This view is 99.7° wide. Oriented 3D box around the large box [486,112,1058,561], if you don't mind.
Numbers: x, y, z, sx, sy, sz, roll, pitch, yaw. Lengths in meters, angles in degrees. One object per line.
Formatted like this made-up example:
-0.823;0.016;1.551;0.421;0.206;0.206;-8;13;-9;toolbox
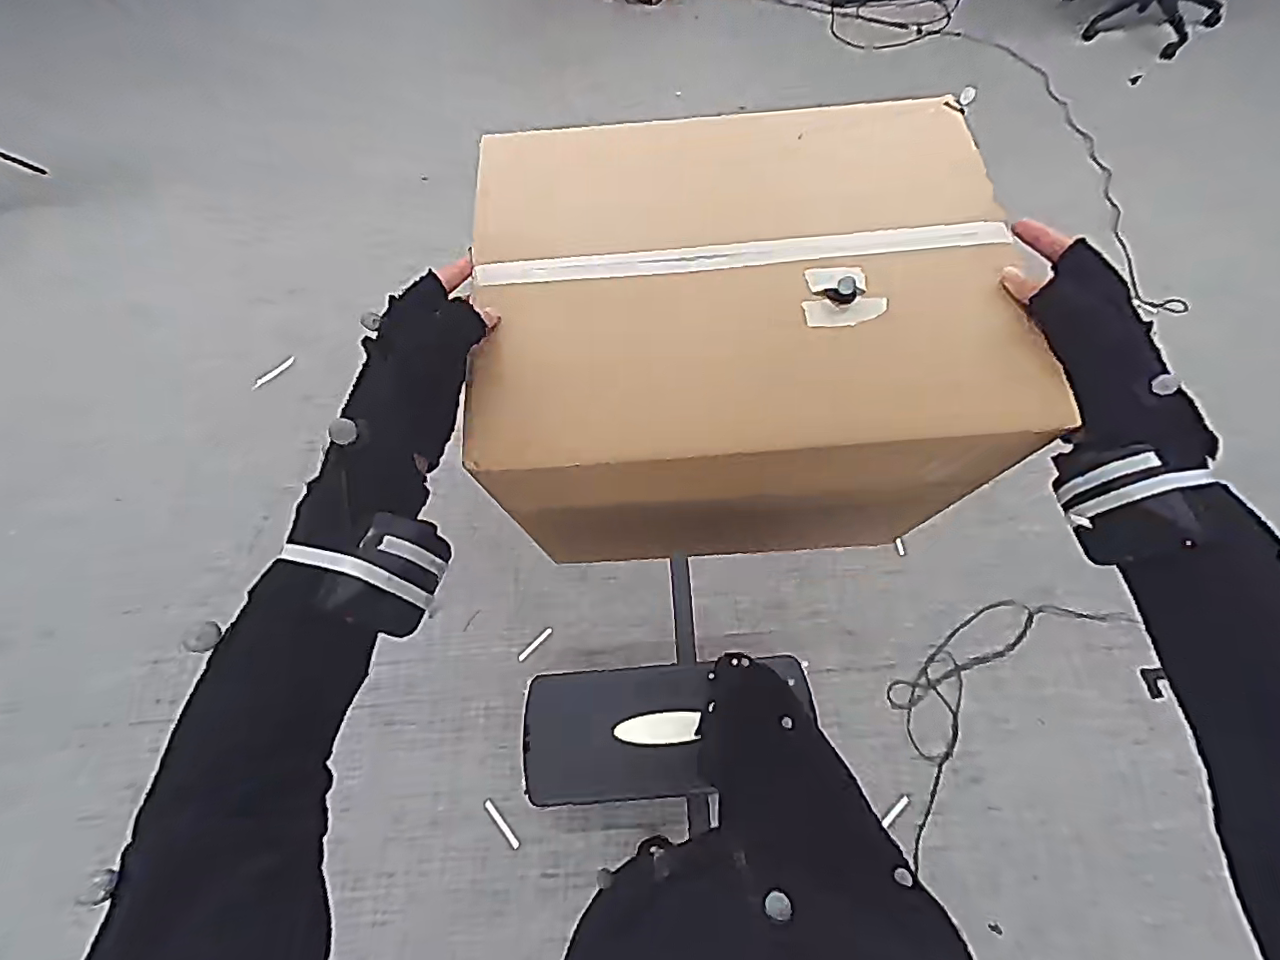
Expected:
0.082;-0.113;0.561;0.408;0.320;0.320;-4;70;0;large box
